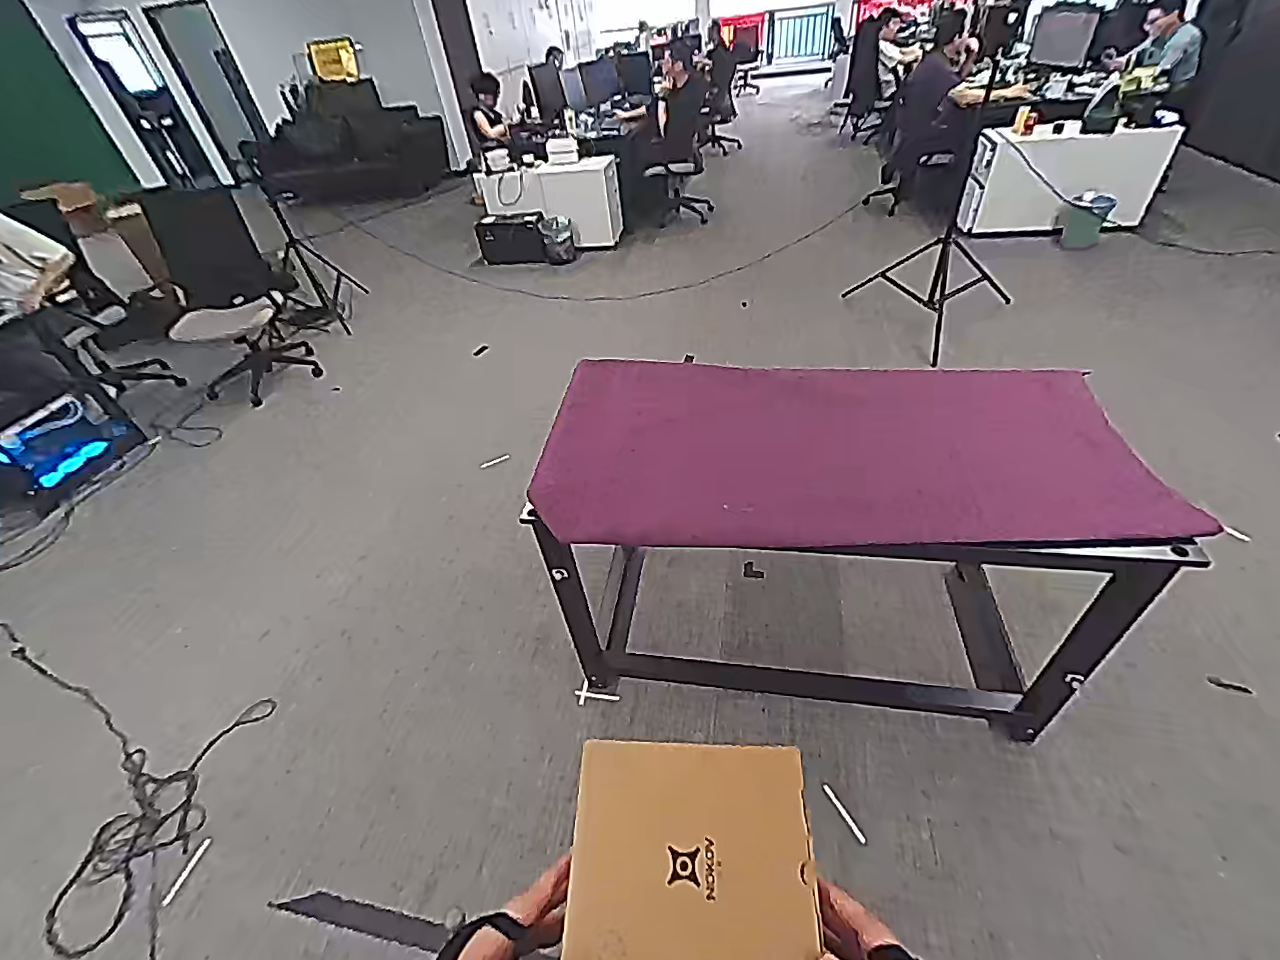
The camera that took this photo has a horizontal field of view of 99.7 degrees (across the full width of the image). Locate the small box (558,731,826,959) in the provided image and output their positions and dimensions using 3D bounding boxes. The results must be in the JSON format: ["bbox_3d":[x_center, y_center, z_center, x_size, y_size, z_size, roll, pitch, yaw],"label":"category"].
[{"bbox_3d":[0.042,0.321,0.448,0.179,0.176,0.168,0,50,5],"label":"small box"}]
